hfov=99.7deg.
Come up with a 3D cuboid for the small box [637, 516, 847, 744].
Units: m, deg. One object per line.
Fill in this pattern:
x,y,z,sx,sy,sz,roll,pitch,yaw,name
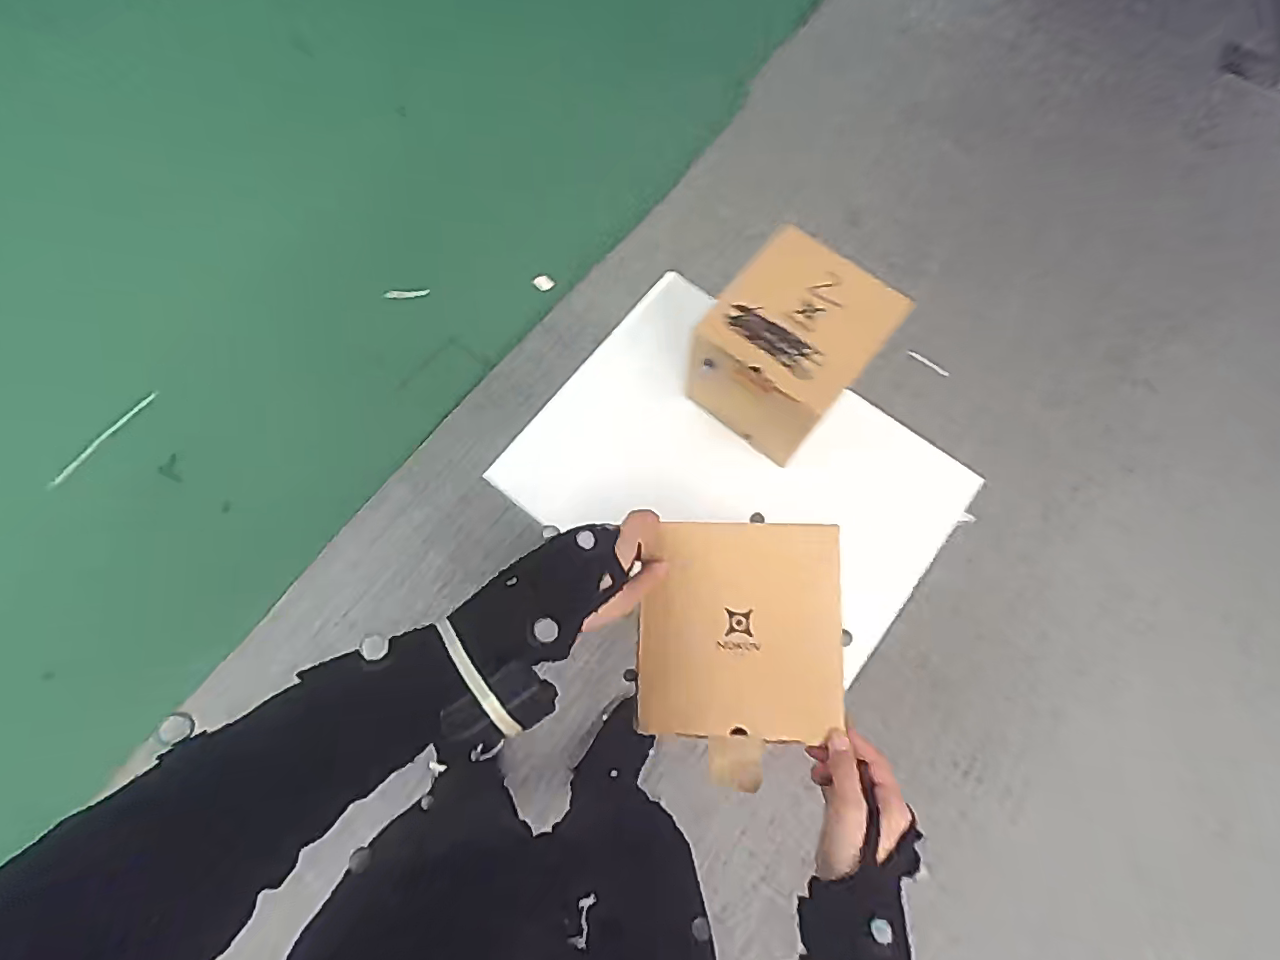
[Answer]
0.087,0.130,0.514,0.168,0.176,0.179,0,82,6,small box
